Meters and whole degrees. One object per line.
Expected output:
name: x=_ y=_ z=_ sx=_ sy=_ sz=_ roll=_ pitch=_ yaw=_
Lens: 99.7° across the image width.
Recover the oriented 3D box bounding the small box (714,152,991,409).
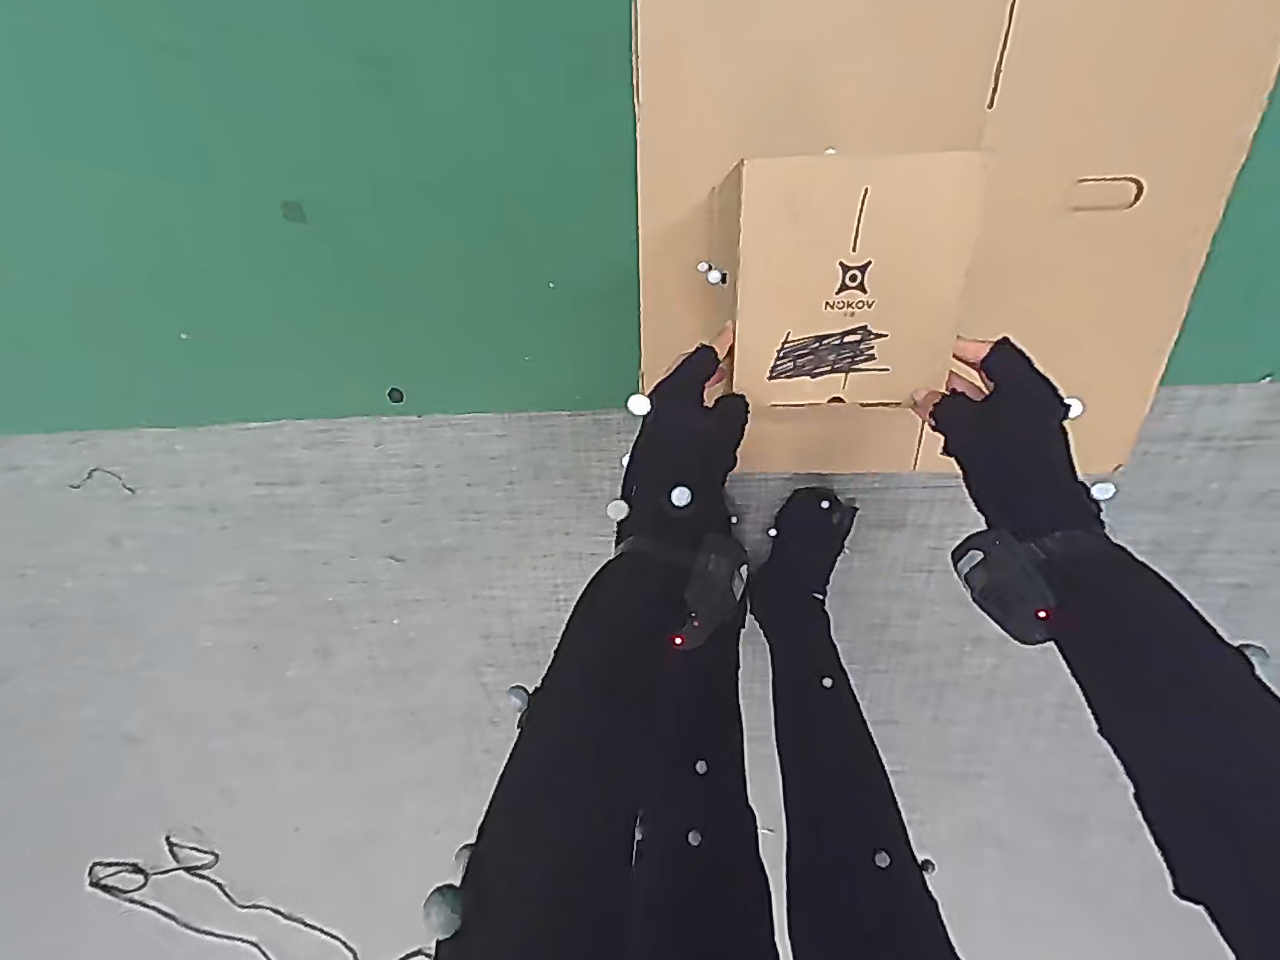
small box: x=0.154 y=-0.168 z=0.465 sx=0.168 sy=0.176 sz=0.179 roll=0 pitch=112 yaw=2
